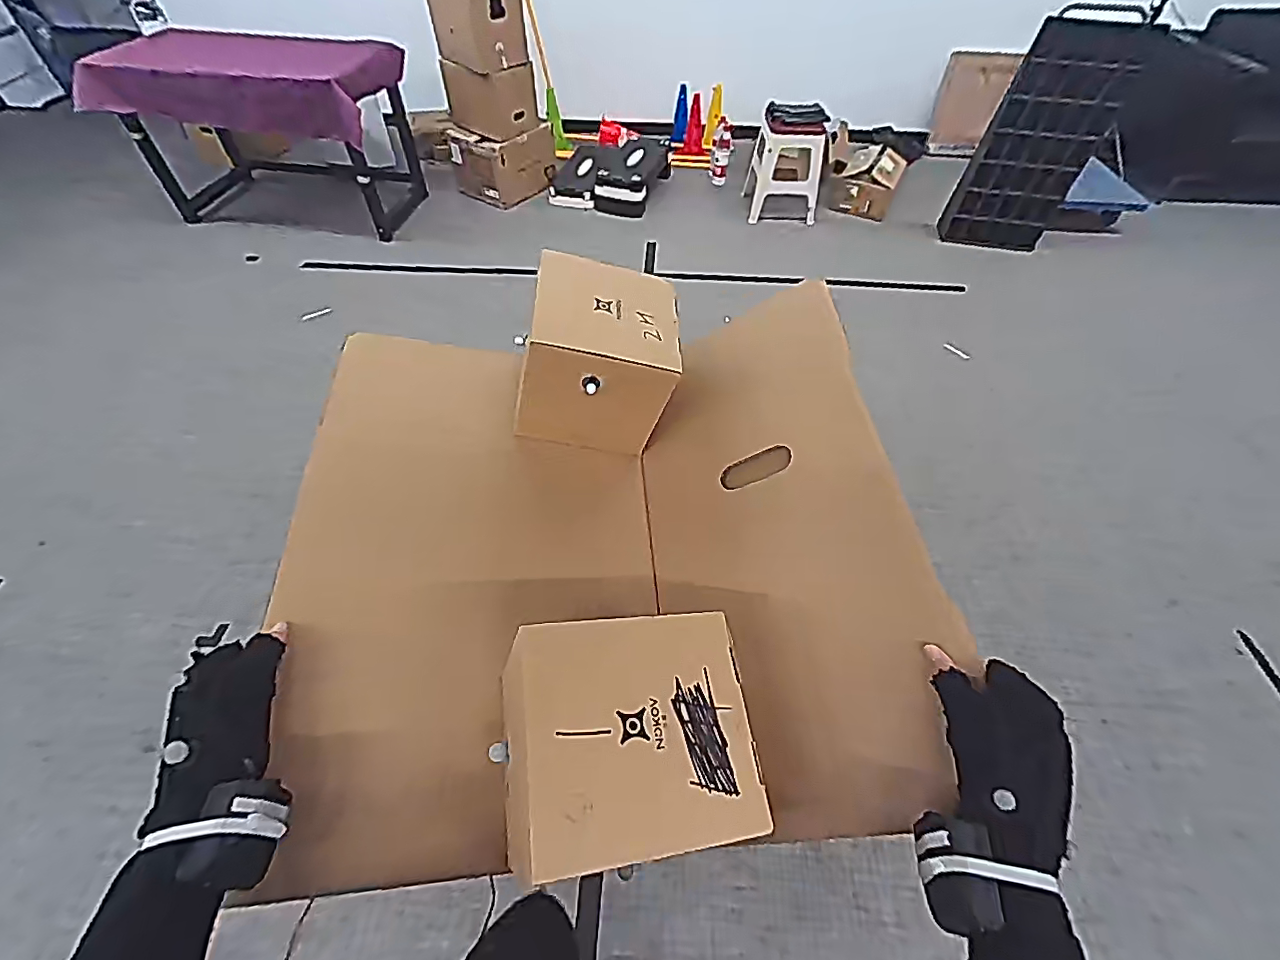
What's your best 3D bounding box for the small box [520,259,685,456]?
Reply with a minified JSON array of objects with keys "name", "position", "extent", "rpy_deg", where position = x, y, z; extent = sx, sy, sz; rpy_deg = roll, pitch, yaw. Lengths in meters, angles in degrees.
[{"name":"small box","position":[-0.054,-0.149,0.703],"extent":[0.179,0.176,0.168],"rpy_deg":[10,55,-14]}]
